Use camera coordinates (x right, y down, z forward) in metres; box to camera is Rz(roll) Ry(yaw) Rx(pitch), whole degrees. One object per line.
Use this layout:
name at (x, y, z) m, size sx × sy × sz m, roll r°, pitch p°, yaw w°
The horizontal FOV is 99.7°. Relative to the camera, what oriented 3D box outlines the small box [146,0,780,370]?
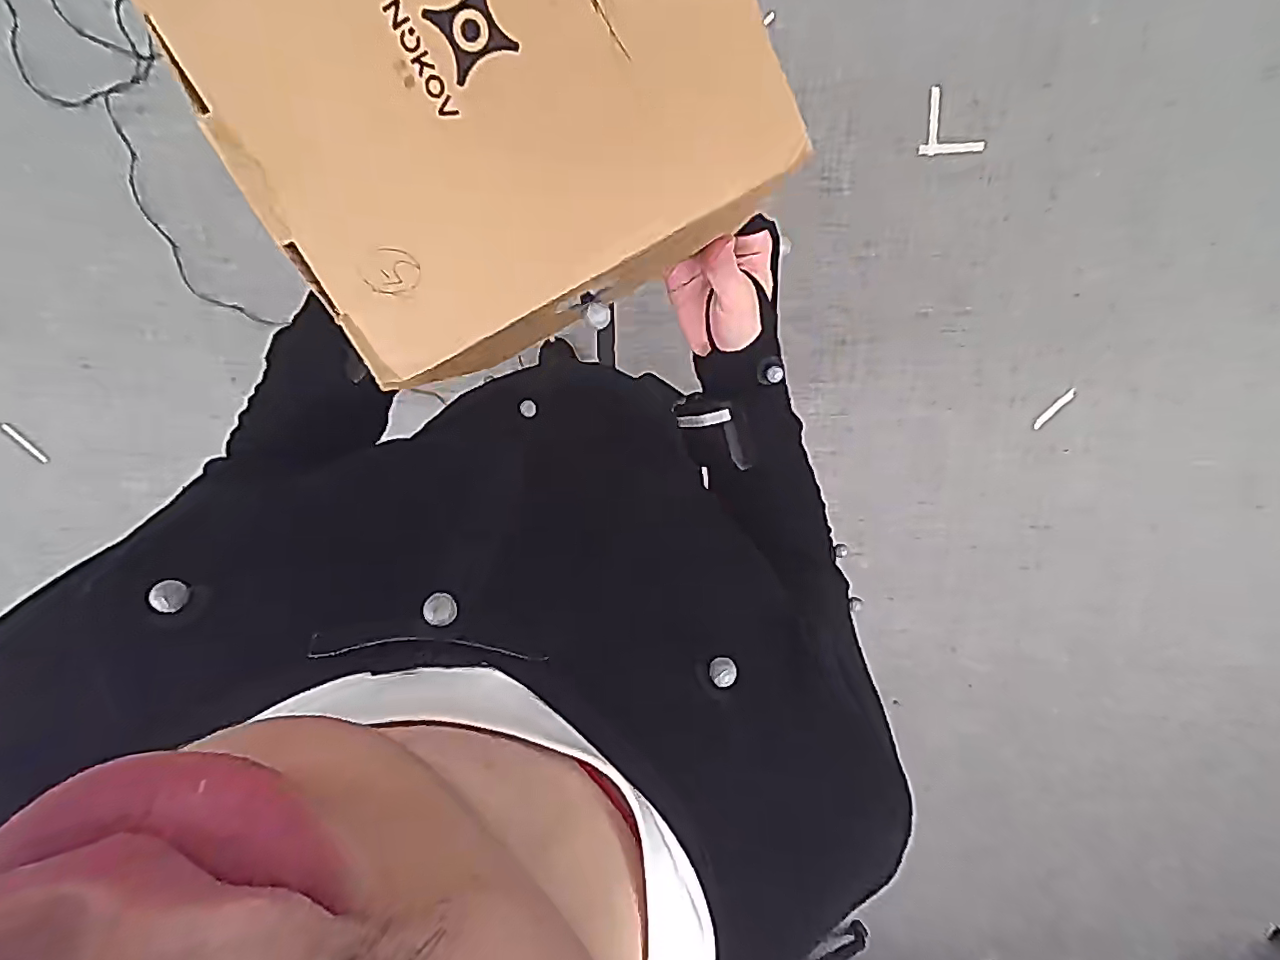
small box at (-0.061, -0.169, 0.263) m, size 0.179 × 0.176 × 0.168 m, roll -28°, pitch 105°, yaw 6°
